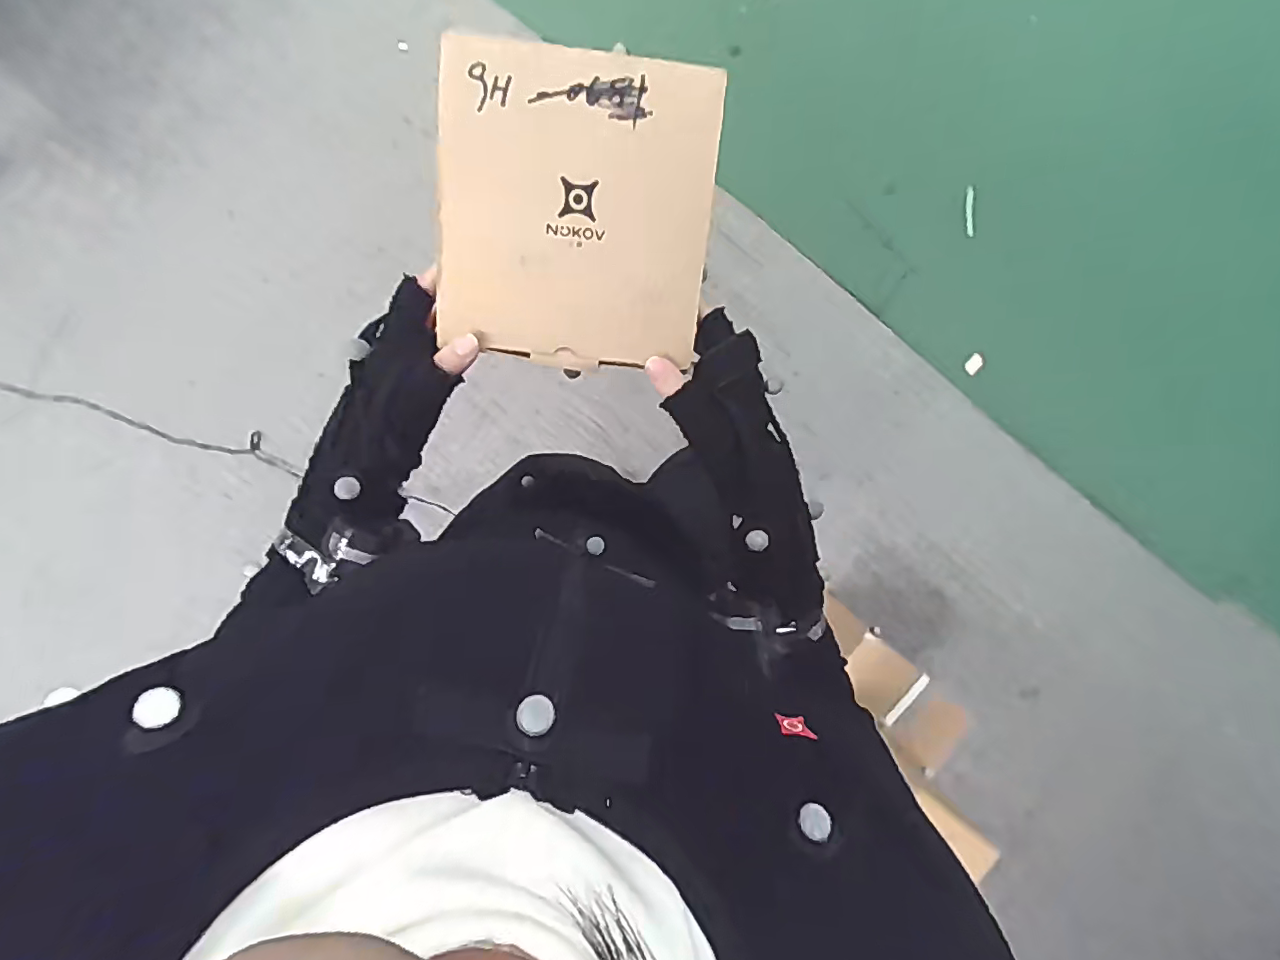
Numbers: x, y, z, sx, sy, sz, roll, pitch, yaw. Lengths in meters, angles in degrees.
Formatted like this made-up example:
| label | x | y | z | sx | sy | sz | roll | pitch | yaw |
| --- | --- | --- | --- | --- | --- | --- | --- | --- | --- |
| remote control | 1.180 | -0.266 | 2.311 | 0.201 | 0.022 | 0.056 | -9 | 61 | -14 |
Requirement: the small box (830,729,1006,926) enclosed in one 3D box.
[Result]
| label | x | y | z | sx | sy | sz | roll | pitch | yaw |
| --- | --- | --- | --- | --- | --- | --- | --- | --- | --- |
| small box | 0.442 | 0.563 | 0.899 | 0.168 | 0.176 | 0.179 | 39 | 94 | -1 |

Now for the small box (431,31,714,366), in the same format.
| label | x | y | z | sx | sy | sz | roll | pitch | yaw |
| --- | --- | --- | --- | --- | --- | --- | --- | --- | --- |
| small box | -0.045 | -0.186 | 0.408 | 0.168 | 0.176 | 0.179 | 4 | 105 | -2 |

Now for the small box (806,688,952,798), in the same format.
| label | x | y | z | sx | sy | sz | roll | pitch | yaw |
| --- | --- | --- | --- | --- | --- | --- | --- | --- | --- |
| small box | 0.454 | 0.549 | 1.063 | 0.168 | 0.176 | 0.179 | 39 | 96 | -1 |
